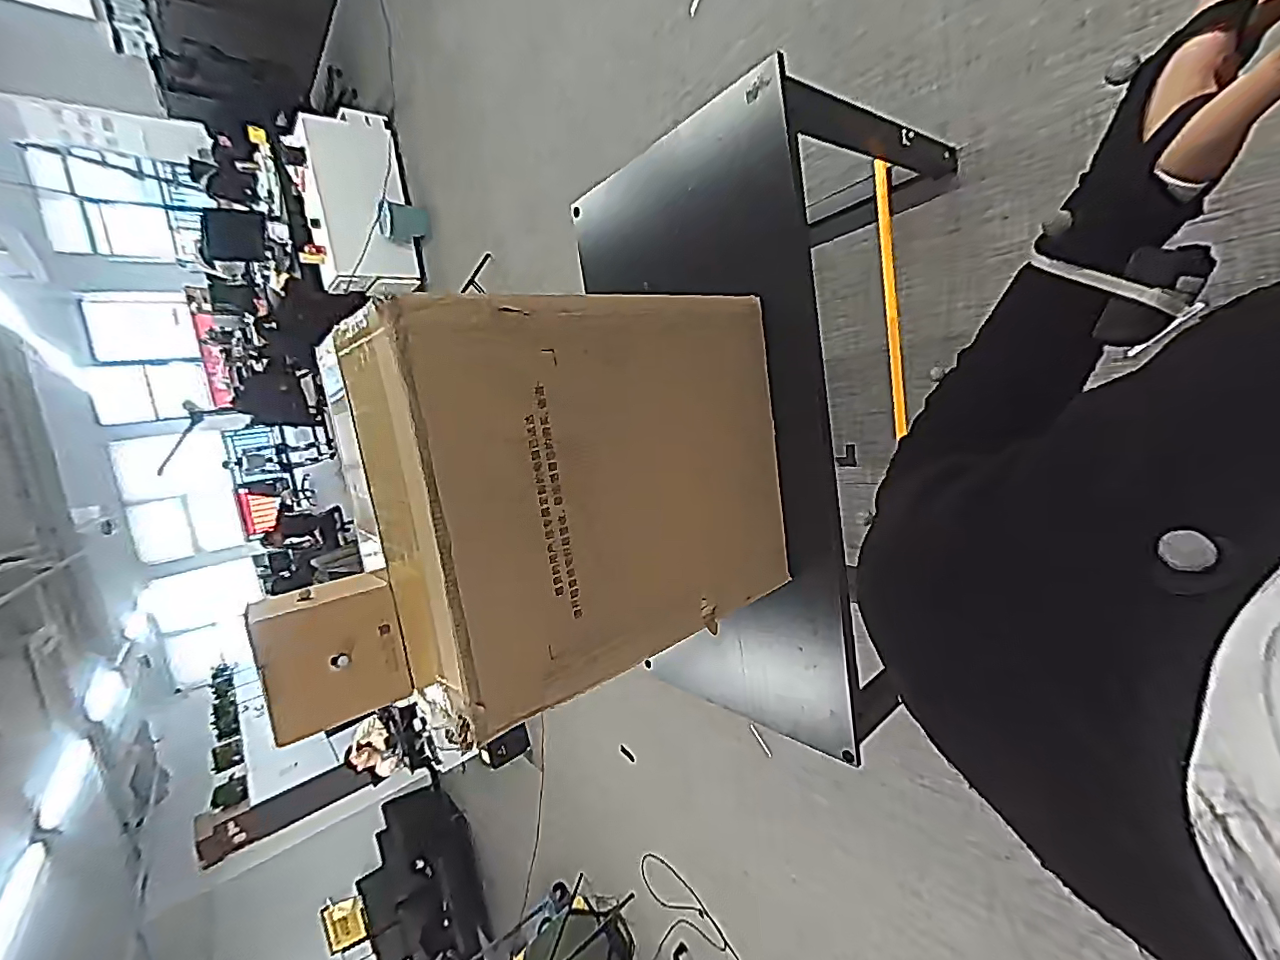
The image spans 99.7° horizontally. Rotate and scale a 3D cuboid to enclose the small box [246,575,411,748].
[{"bbox_3d":[-0.444,0.244,0.779,0.179,0.176,0.168,-5,97,54],"label":"small box"}]
